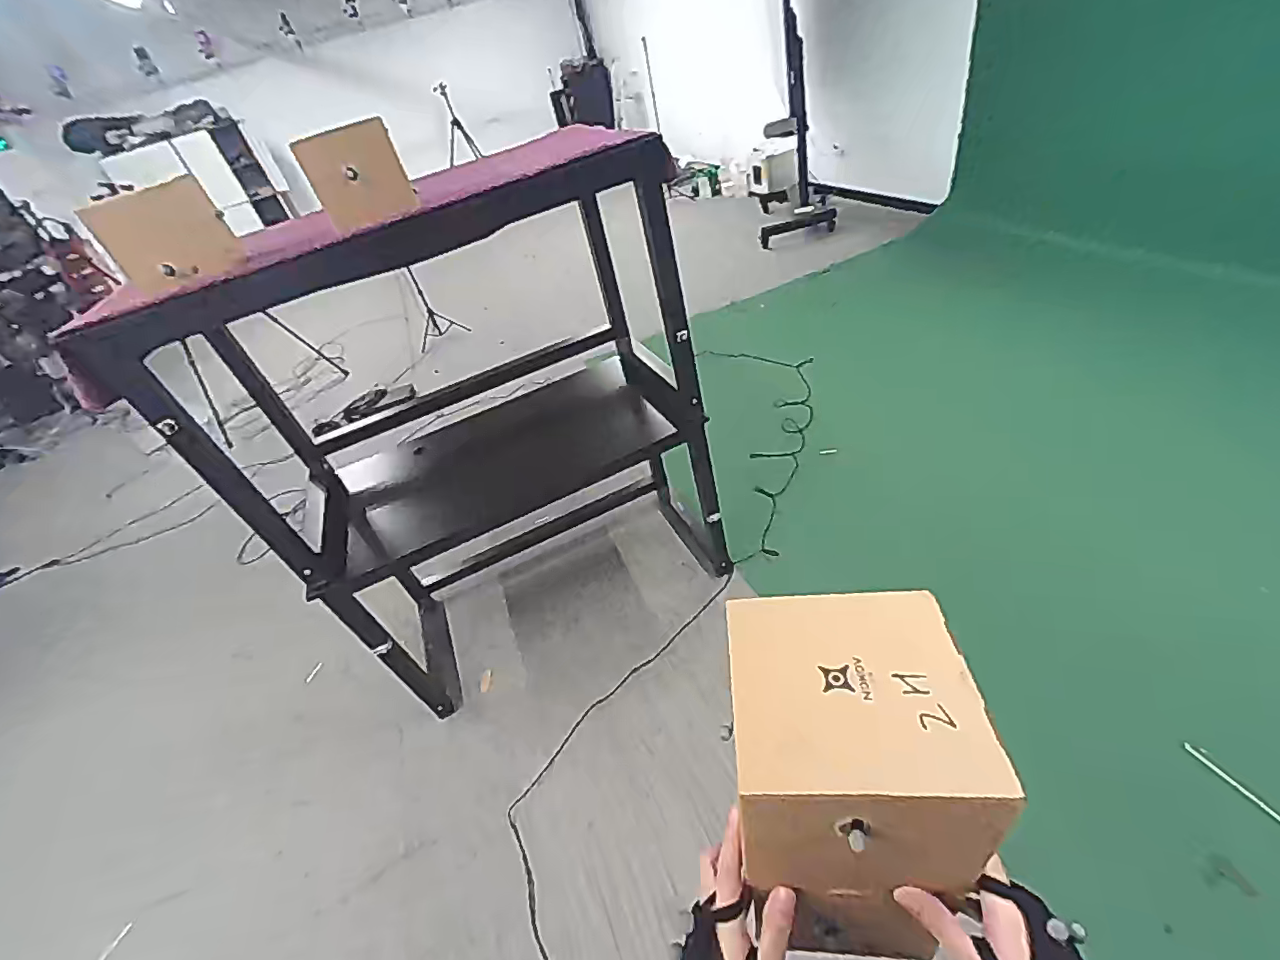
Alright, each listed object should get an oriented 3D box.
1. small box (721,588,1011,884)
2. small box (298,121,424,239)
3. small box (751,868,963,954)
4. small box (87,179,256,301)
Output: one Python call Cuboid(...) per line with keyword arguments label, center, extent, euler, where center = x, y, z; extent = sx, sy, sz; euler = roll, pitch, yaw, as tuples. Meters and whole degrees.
Cuboid(label="small box", center=(0.164, 0.211, 0.452), extent=(0.179, 0.176, 0.168), euler=(-4, 37, 9))
Cuboid(label="small box", center=(-0.568, -0.626, 1.127), extent=(0.179, 0.176, 0.168), euler=(-24, 38, -8))
Cuboid(label="small box", center=(0.194, 0.340, 0.550), extent=(0.168, 0.176, 0.179), euler=(-4, 36, 9))
Cuboid(label="small box", center=(-0.894, -0.469, 1.056), extent=(0.168, 0.176, 0.179), euler=(-26, 39, -10))
